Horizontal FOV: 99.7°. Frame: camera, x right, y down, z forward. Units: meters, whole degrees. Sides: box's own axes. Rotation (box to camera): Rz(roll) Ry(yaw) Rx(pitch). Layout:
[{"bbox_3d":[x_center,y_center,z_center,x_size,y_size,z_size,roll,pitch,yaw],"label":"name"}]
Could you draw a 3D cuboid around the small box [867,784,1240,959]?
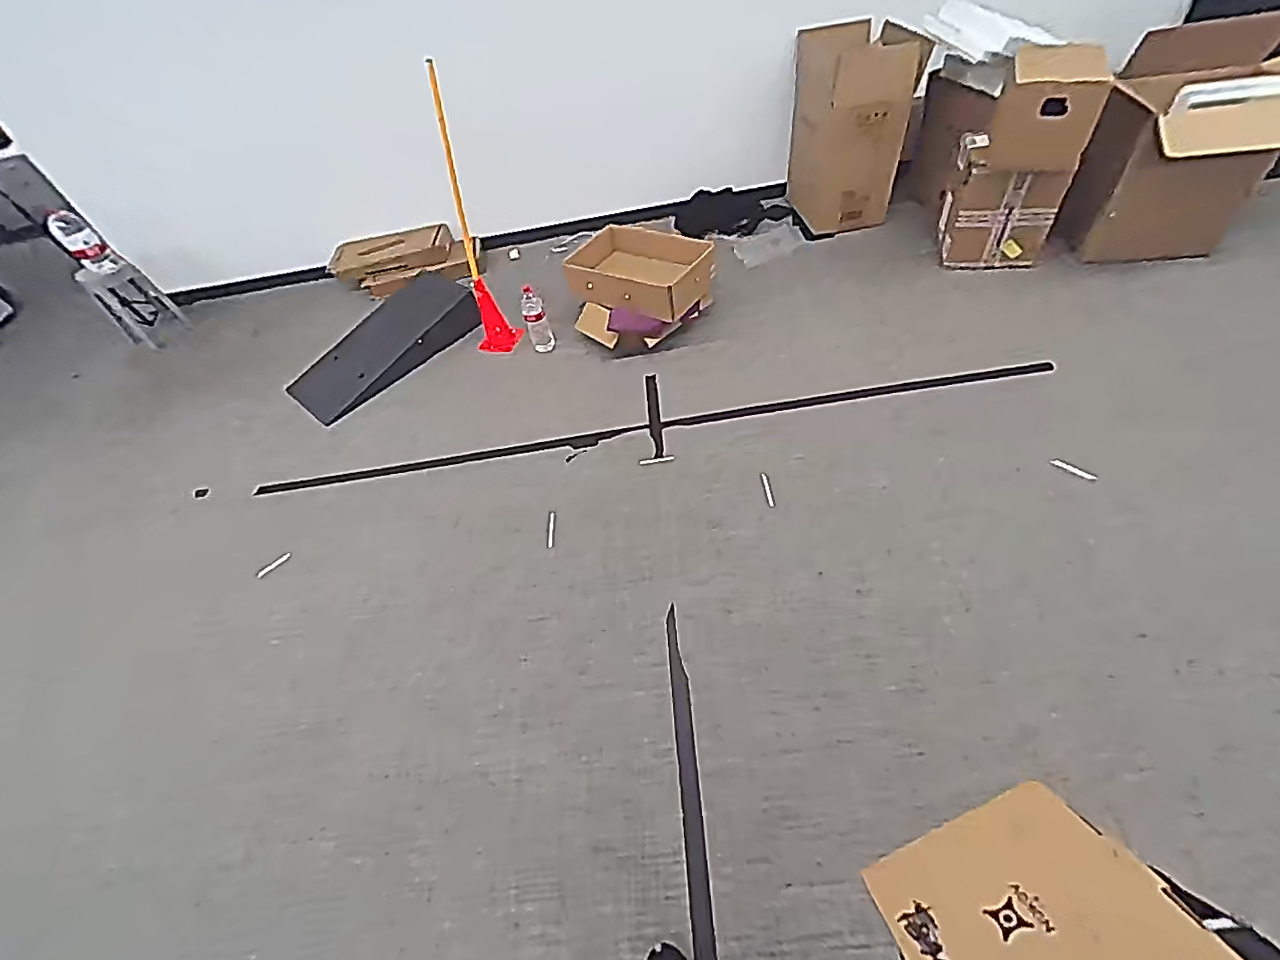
[{"bbox_3d":[0.313,0.384,0.404,0.179,0.176,0.168,-28,8,2],"label":"small box"}]
